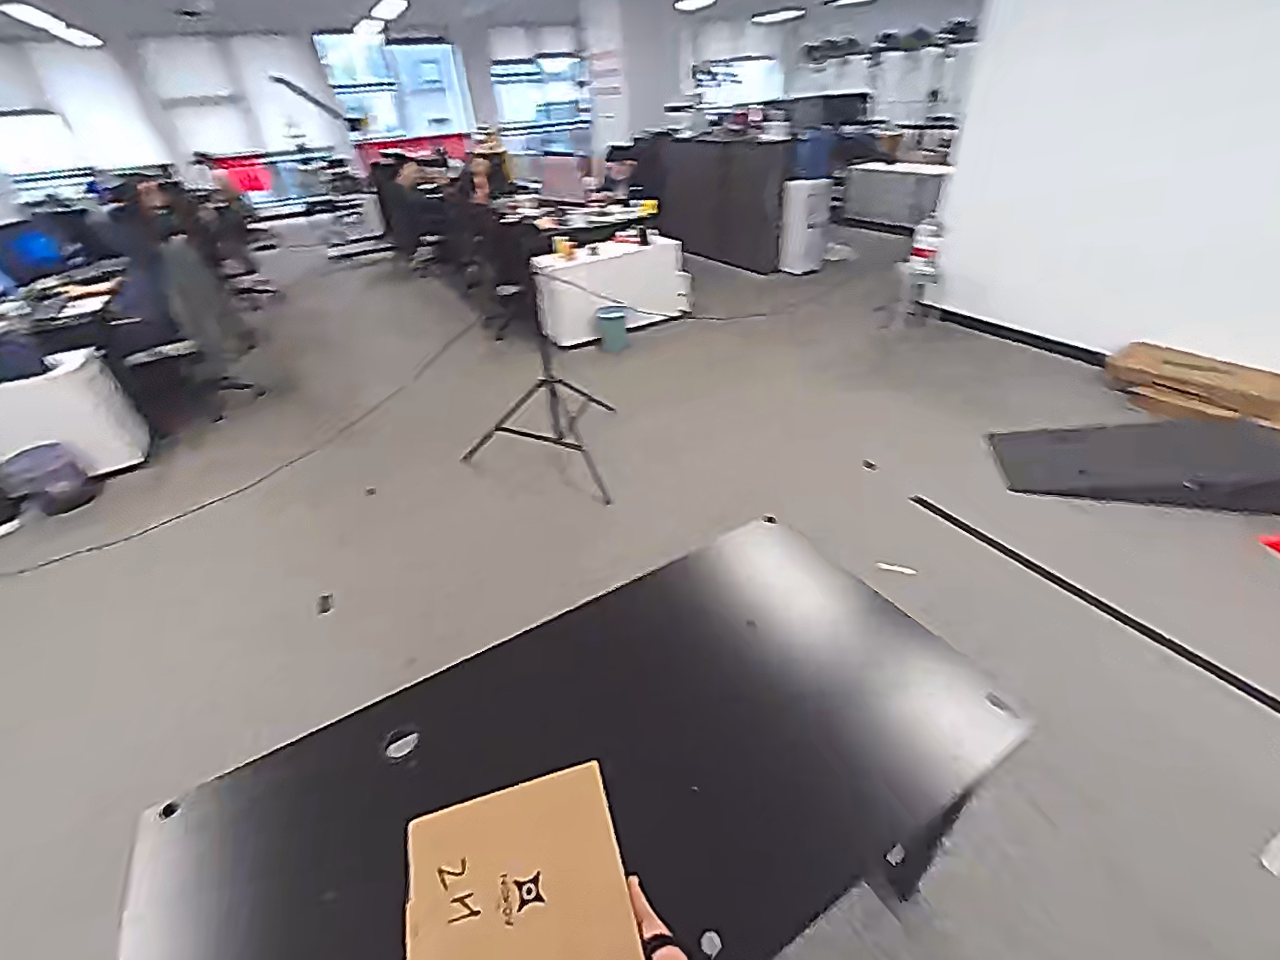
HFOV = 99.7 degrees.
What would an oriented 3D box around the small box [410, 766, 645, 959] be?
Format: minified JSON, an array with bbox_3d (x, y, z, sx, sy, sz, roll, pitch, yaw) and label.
[{"bbox_3d":[-0.102,0.403,0.503,0.179,0.176,0.168,-12,44,-13],"label":"small box"}]
